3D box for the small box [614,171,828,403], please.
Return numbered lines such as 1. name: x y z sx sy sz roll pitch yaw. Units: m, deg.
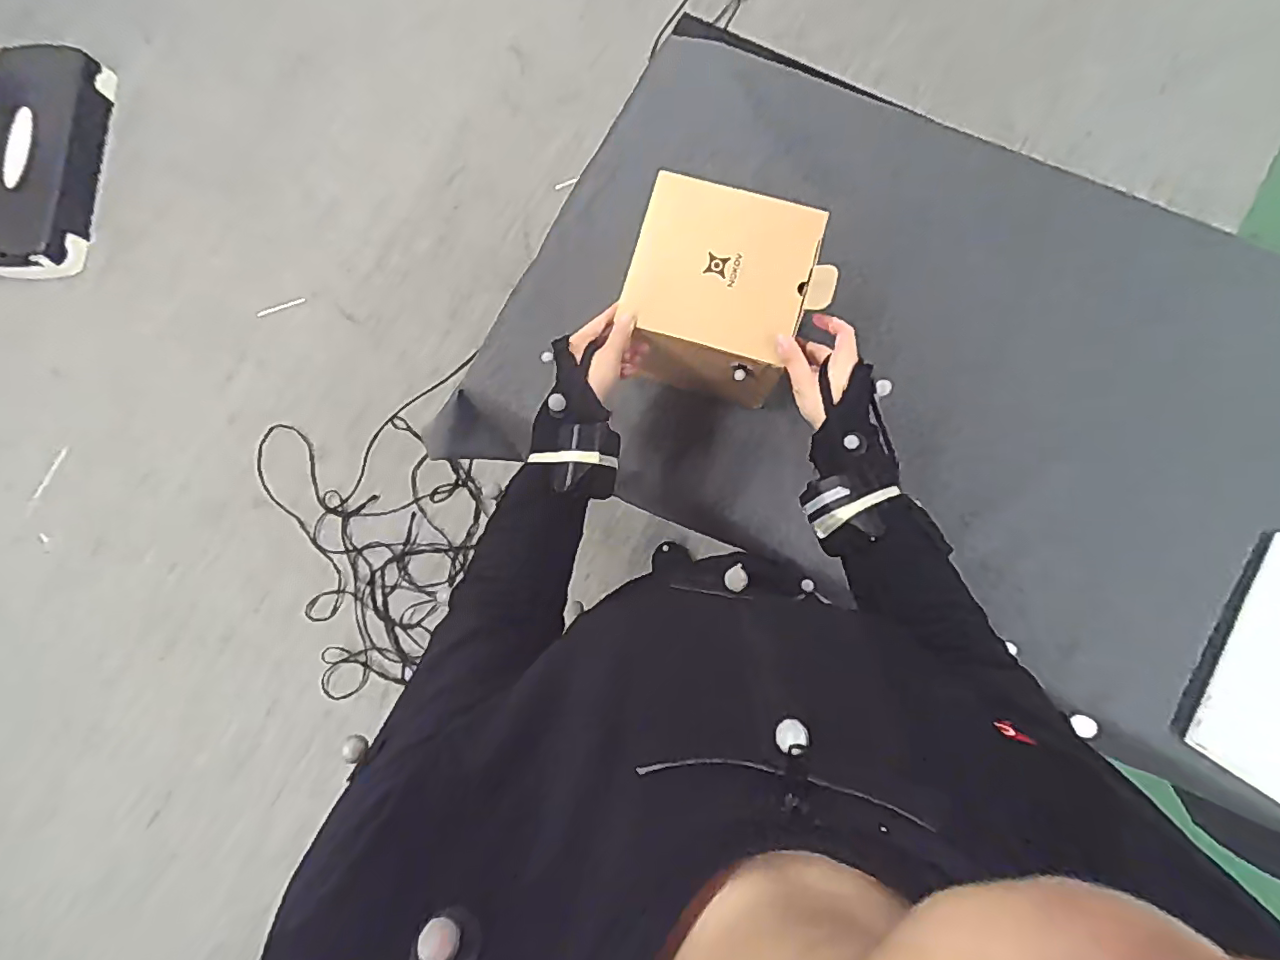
1. small box: 0.082 -0.199 0.603 0.179 0.176 0.168 16 84 4
